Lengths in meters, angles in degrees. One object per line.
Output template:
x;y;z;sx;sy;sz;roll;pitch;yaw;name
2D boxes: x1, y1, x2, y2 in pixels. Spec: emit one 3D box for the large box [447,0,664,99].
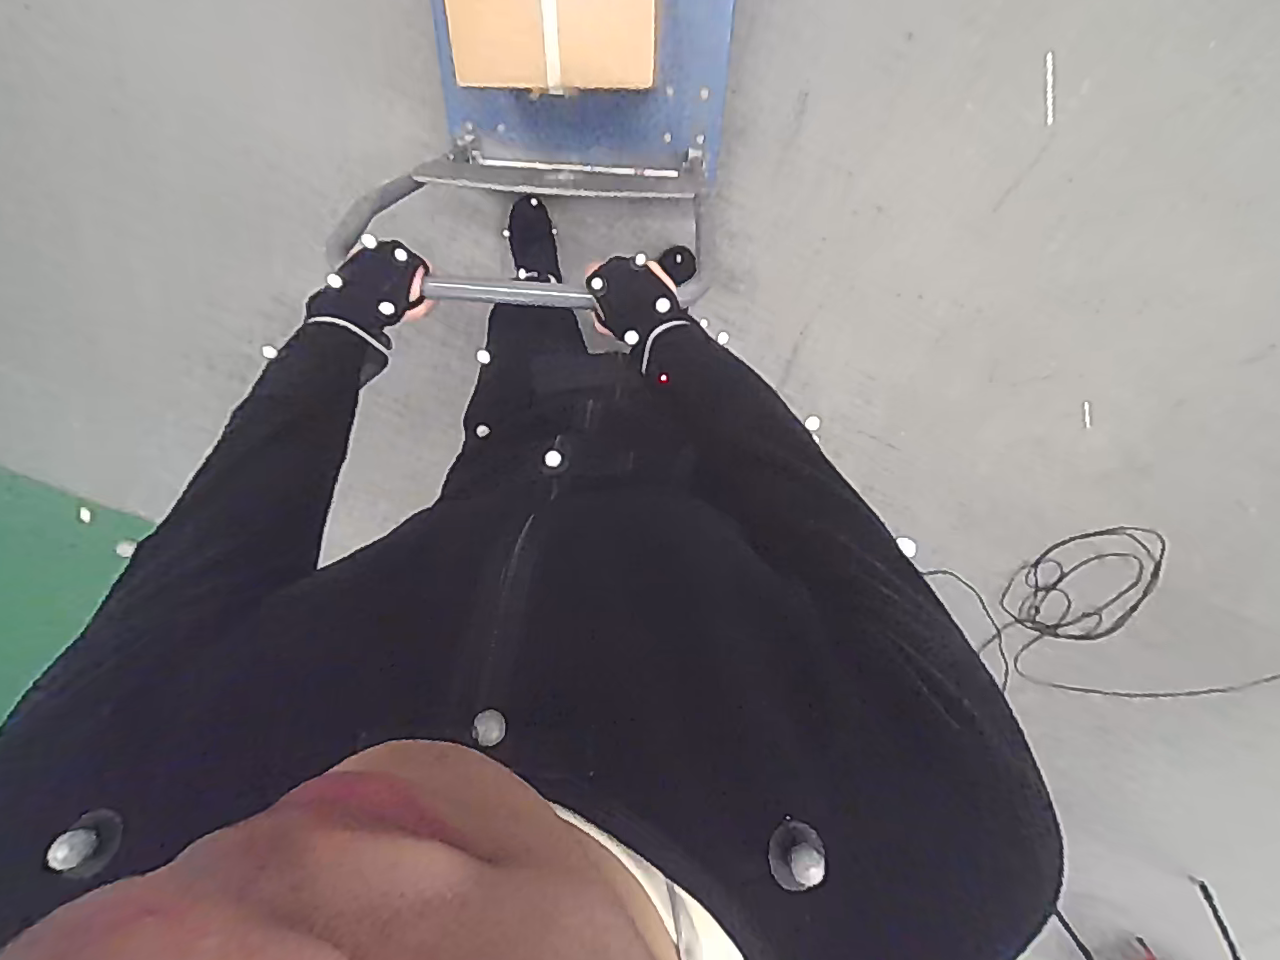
-0.124;-0.862;0.863;0.320;0.320;0.408;2;127;3;large box
